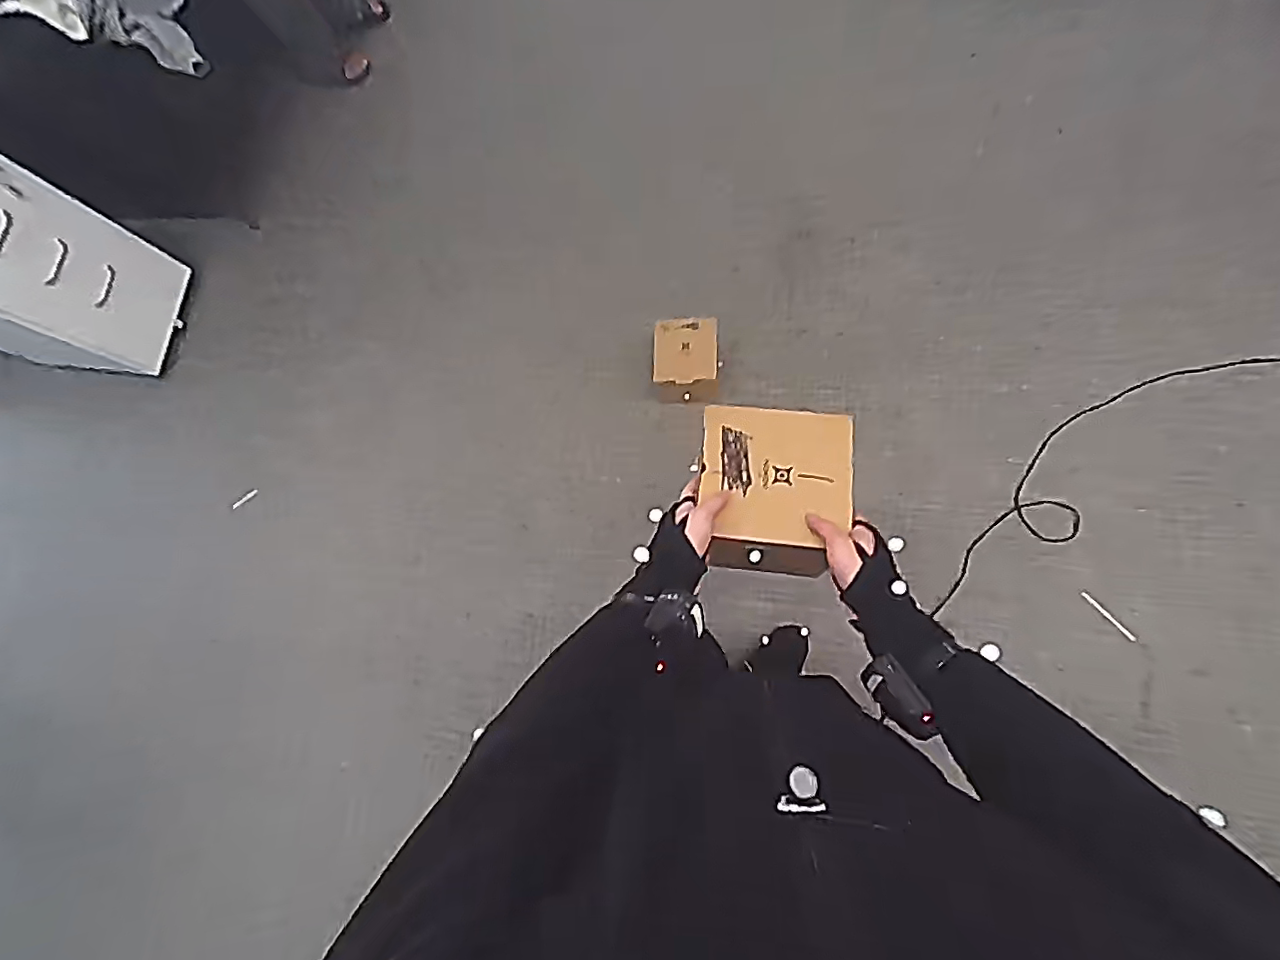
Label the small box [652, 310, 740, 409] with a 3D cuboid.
[{"bbox_3d":[0.159,-0.322,1.485,0.179,0.176,0.168,-30,72,5],"label":"small box"}]

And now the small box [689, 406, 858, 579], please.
[{"bbox_3d":[0.166,0.024,0.701,0.179,0.176,0.168,9,72,10],"label":"small box"}]
